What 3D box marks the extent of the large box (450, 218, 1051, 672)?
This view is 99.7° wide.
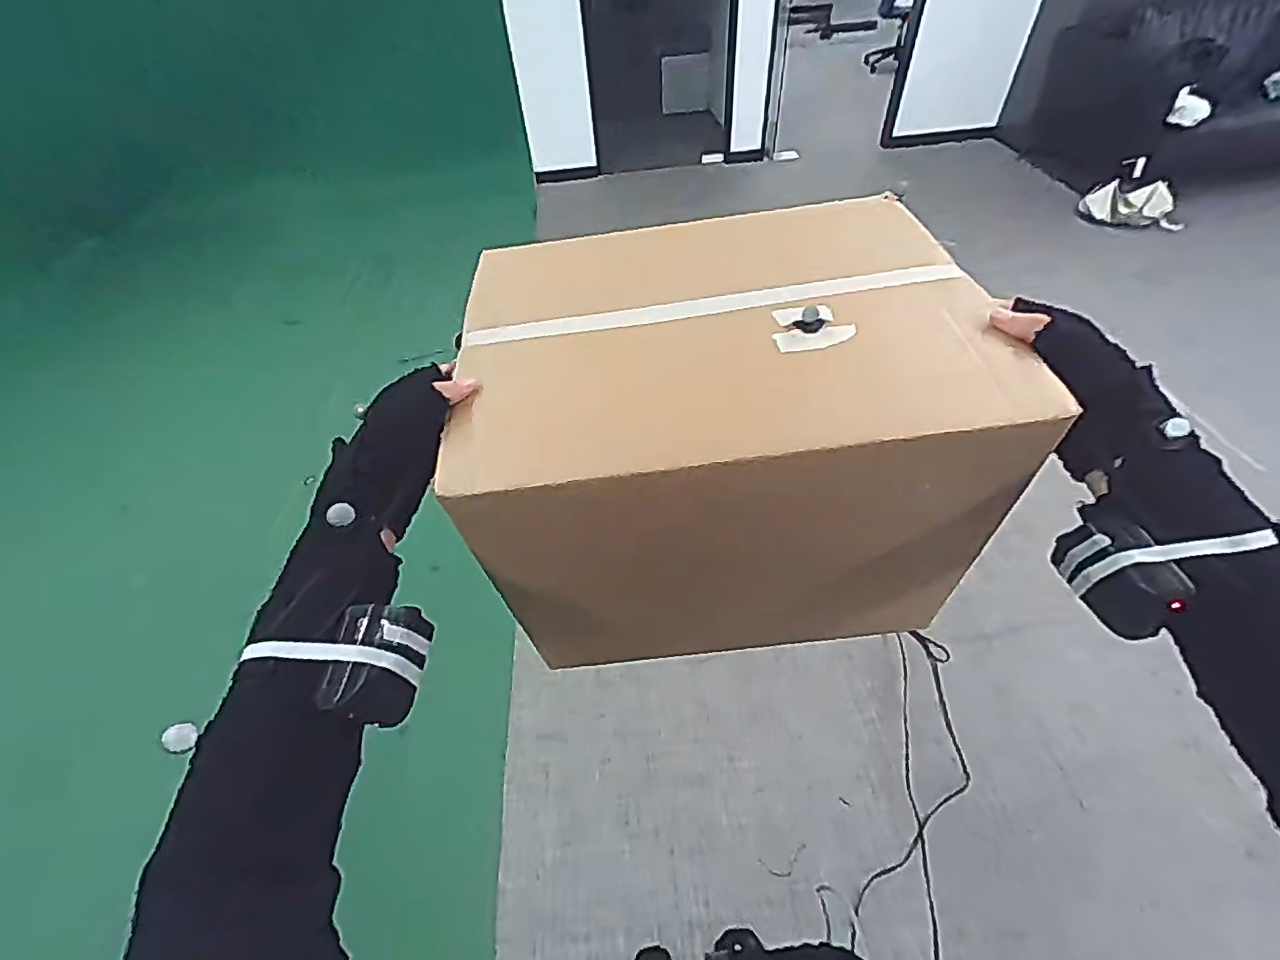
[{"bbox_3d":[0.070,-0.027,0.557,0.408,0.320,0.320,-7,51,1],"label":"large box"}]
